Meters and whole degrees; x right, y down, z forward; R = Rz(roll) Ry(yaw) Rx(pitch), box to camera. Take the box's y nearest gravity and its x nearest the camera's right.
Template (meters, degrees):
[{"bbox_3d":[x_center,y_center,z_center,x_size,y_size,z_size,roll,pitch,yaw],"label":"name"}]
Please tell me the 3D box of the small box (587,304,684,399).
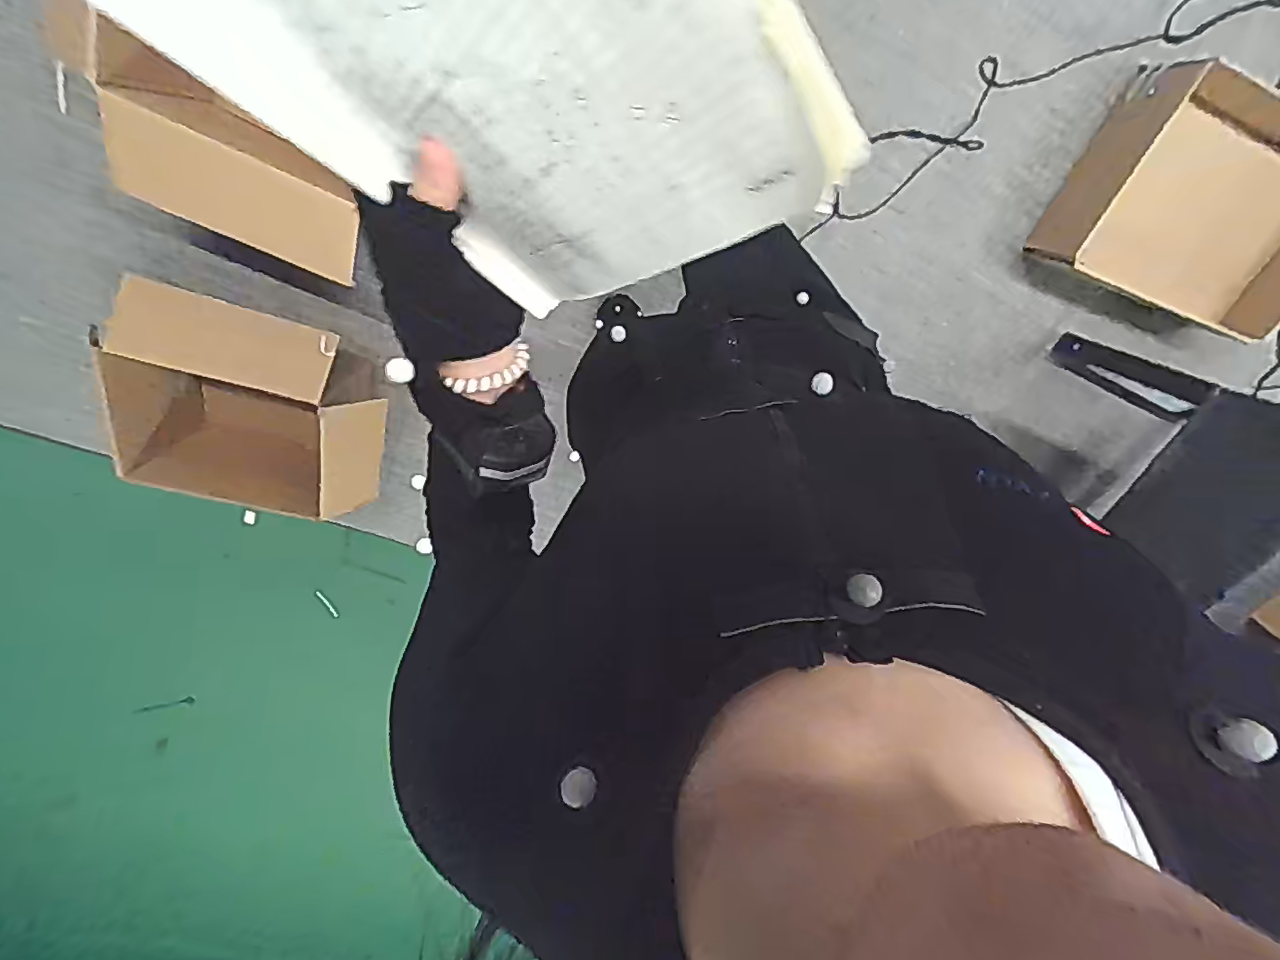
[{"bbox_3d":[-0.015,-0.321,1.337,0.179,0.176,0.168,26,119,10],"label":"small box"}]
